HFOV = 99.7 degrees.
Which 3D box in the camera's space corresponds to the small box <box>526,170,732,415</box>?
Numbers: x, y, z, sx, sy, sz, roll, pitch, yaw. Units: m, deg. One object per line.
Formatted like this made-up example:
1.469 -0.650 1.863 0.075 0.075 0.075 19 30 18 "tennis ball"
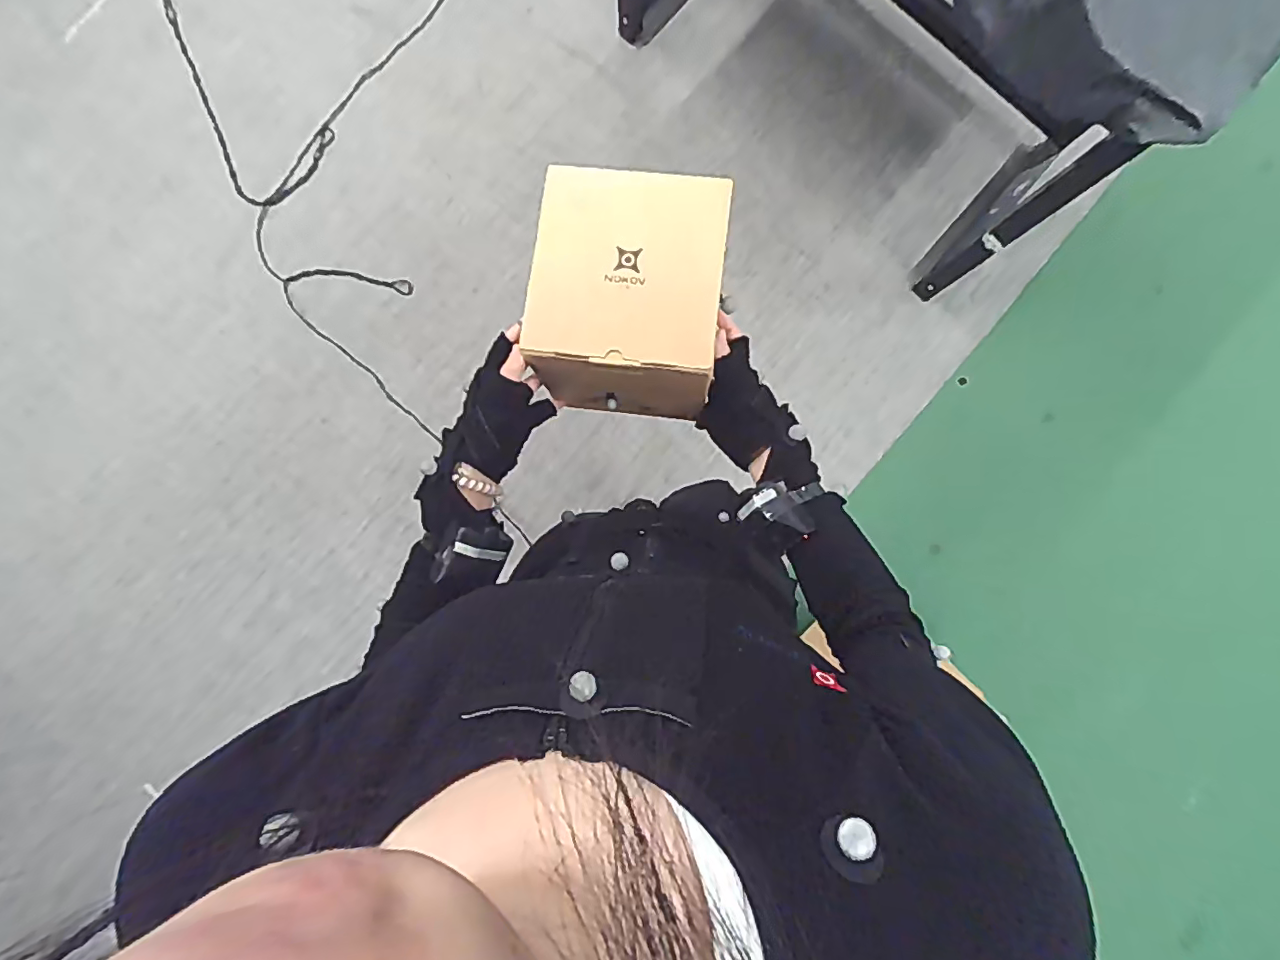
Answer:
-0.006 -0.178 0.558 0.168 0.176 0.179 7 84 3 "small box"
